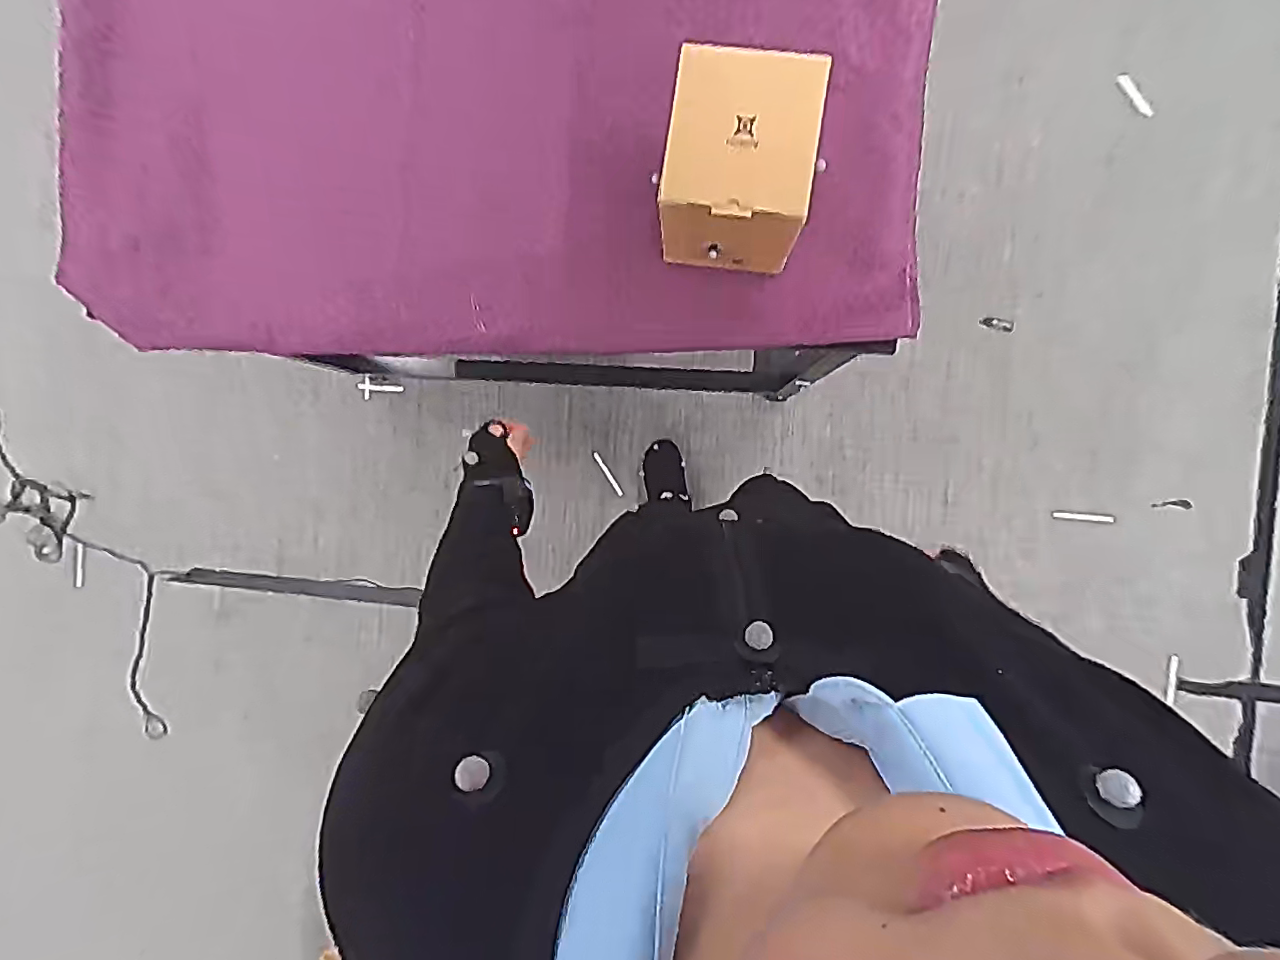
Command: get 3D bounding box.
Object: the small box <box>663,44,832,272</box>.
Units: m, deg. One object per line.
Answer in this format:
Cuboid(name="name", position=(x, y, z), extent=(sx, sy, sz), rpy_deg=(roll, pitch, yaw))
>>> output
Cuboid(name="small box", position=(0.122, -0.383, 0.670), extent=(0.168, 0.176, 0.179), rpy_deg=(8, 92, 4))
